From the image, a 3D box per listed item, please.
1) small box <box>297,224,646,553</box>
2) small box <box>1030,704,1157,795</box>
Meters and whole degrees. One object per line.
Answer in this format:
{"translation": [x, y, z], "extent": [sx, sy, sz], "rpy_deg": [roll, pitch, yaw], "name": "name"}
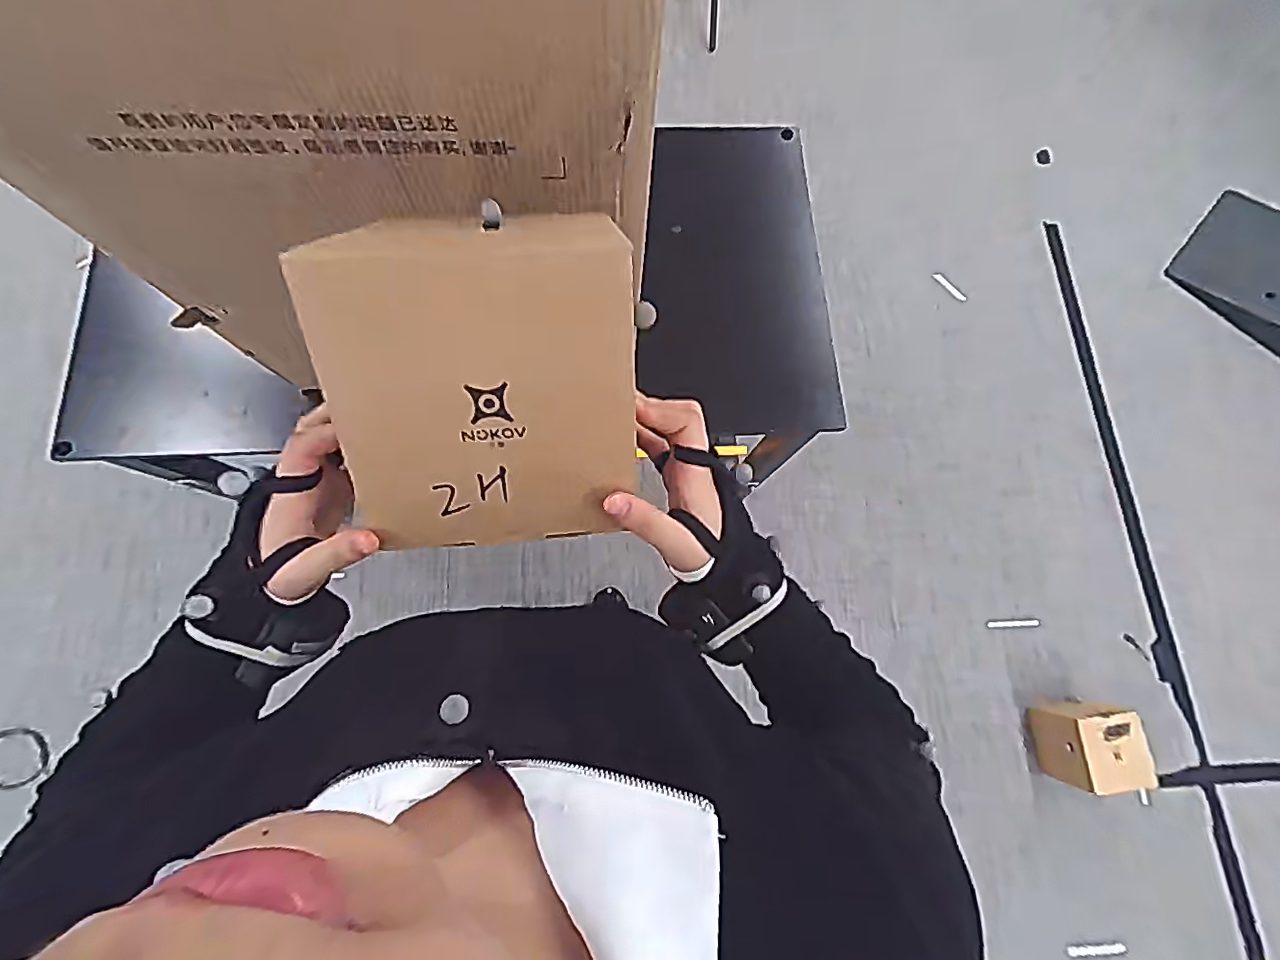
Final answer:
{"translation": [-0.089, -0.074, 0.366], "extent": [0.168, 0.176, 0.179], "rpy_deg": [-3, 119, -6], "name": "small box"}
{"translation": [1.157, 0.686, 1.397], "extent": [0.168, 0.176, 0.179], "rpy_deg": [-5, 77, -4], "name": "small box"}
